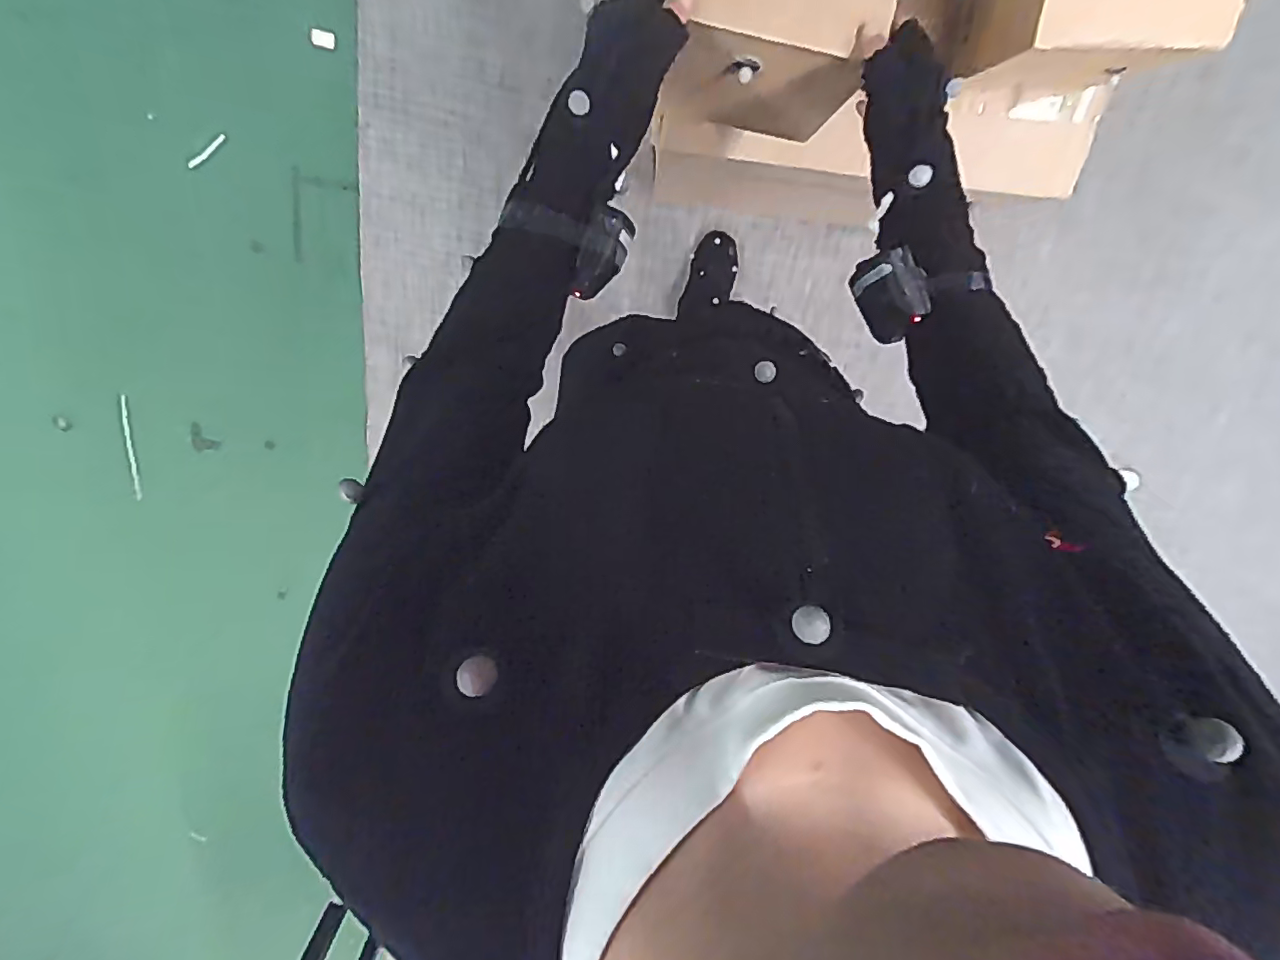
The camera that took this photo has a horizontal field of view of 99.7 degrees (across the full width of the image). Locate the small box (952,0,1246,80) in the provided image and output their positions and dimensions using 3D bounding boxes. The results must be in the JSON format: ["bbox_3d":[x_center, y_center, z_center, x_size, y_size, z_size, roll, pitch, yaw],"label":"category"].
[{"bbox_3d":[0.440,-0.501,0.517,0.179,0.176,0.168,1,116,4],"label":"small box"}]

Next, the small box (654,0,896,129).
[{"bbox_3d":[0.113,-0.438,0.472,0.179,0.176,0.168,9,104,-6],"label":"small box"}]
